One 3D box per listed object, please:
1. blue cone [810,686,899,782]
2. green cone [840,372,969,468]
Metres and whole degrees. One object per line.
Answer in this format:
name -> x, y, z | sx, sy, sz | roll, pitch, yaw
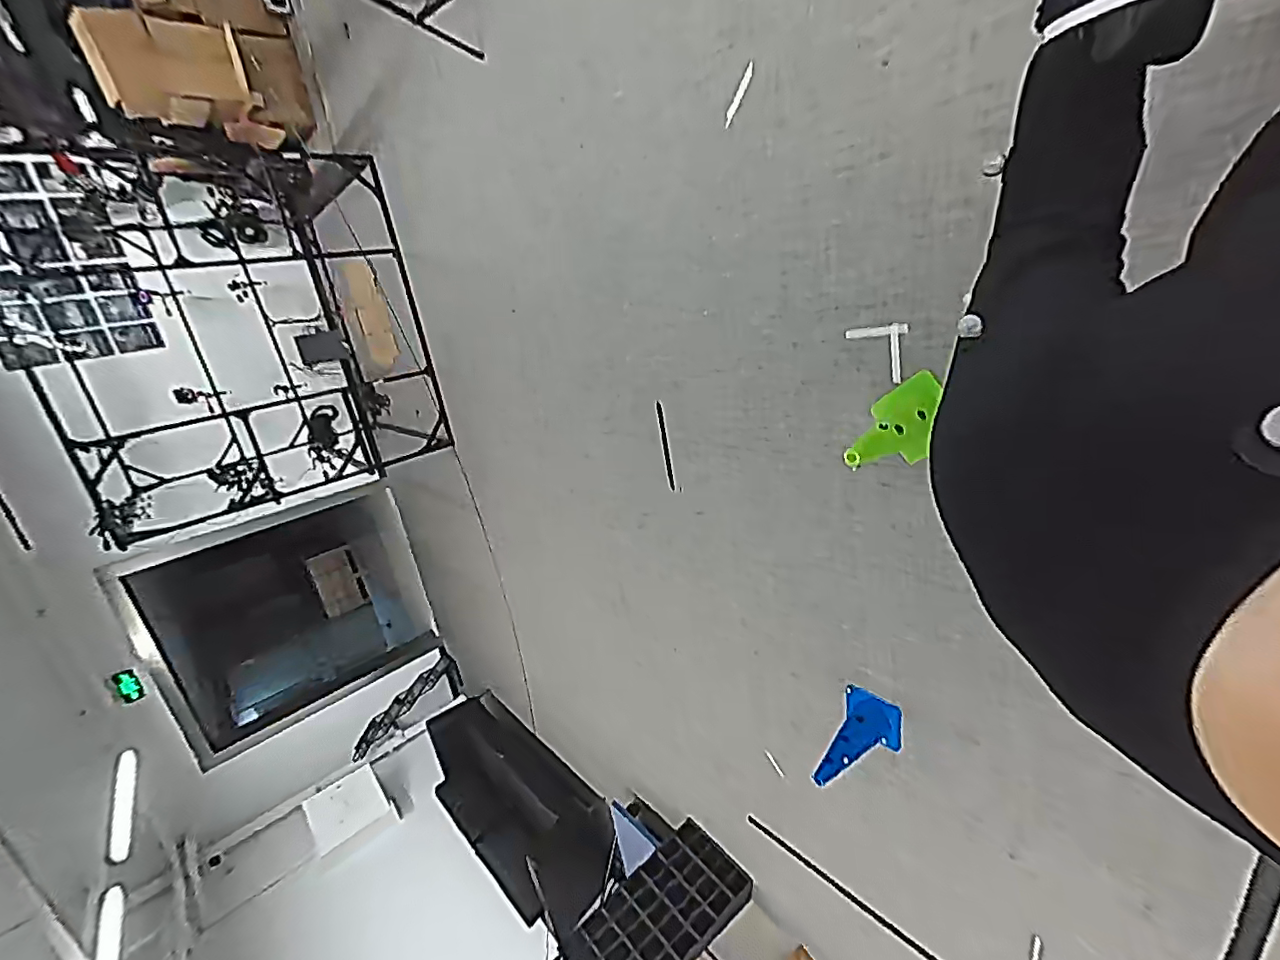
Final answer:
blue cone -> 0.716, 0.907, 1.855 | 0.192, 0.380, 0.193 | 18, 123, 48
green cone -> 0.624, -0.110, 1.368 | 0.200, 0.368, 0.202 | 59, 145, 12
